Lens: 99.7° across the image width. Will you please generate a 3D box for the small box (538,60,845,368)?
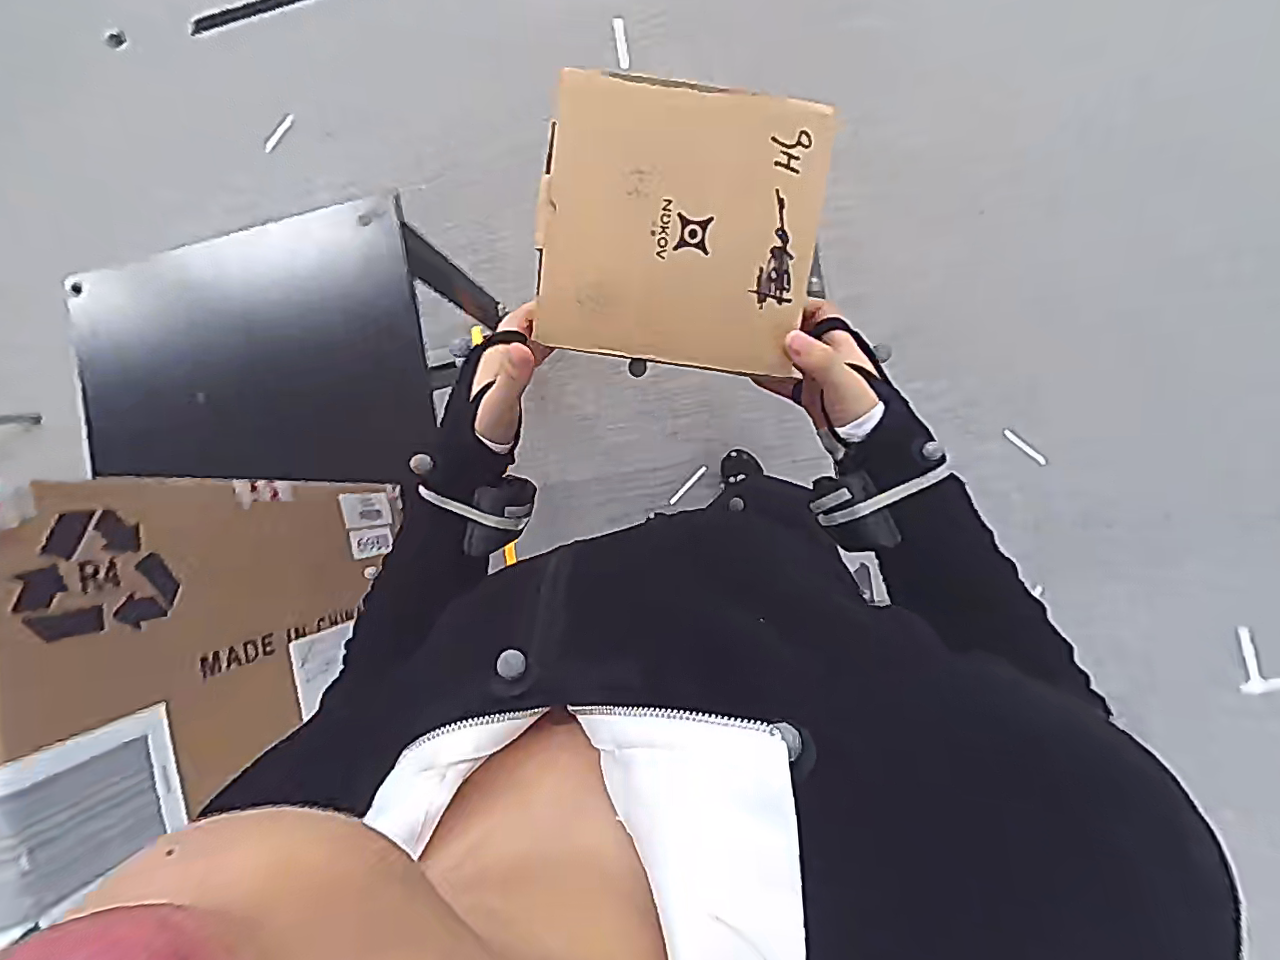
[{"bbox_3d":[0.031,-0.182,0.425,0.179,0.176,0.168,9,102,-1],"label":"small box"}]
